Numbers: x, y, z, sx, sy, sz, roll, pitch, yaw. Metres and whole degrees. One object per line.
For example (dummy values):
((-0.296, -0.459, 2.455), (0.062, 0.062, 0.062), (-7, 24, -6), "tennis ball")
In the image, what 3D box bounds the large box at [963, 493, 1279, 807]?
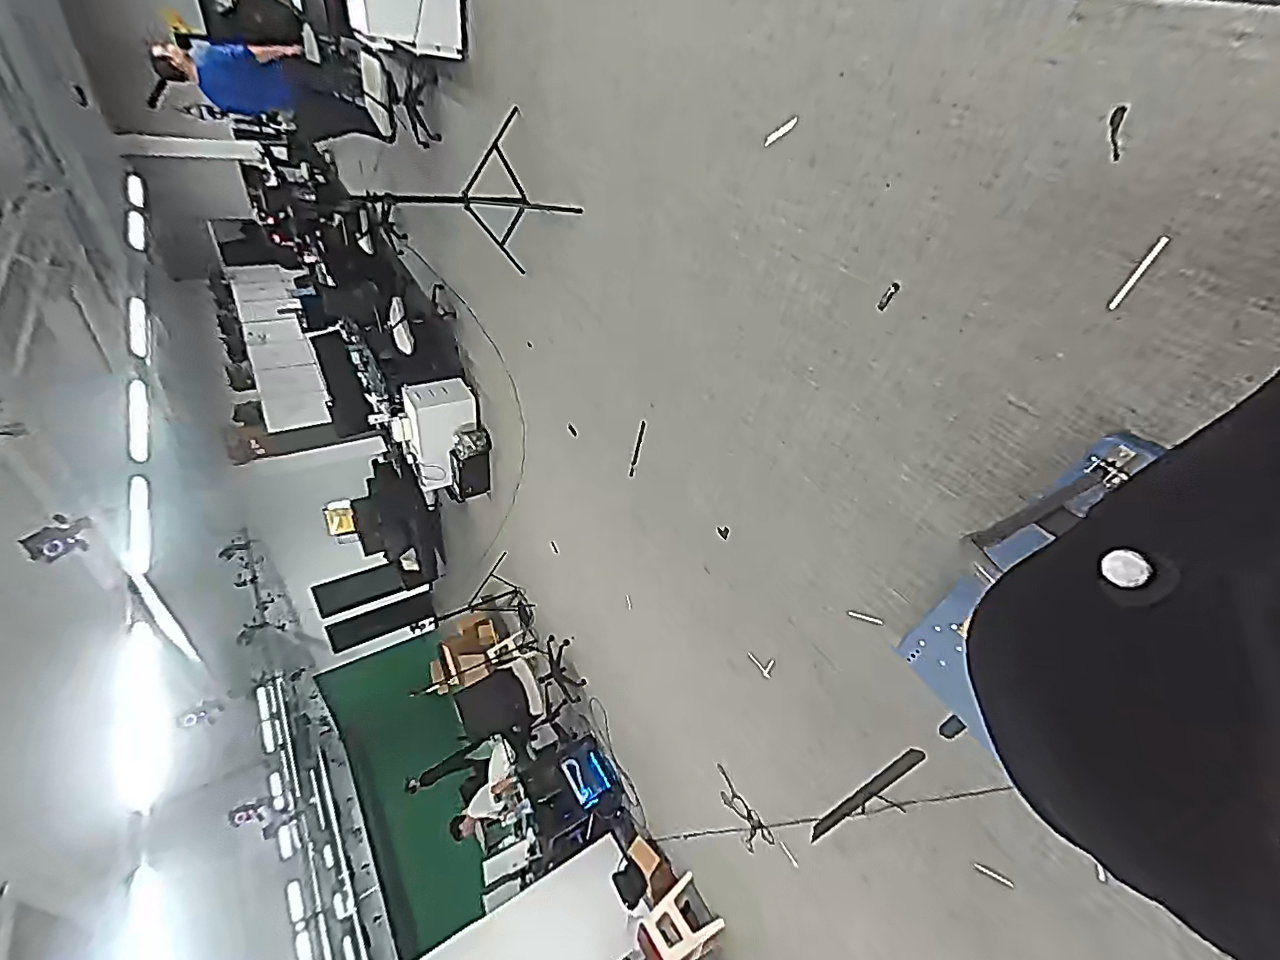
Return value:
((0.939, 0.292, 1.010), (0.408, 0.320, 0.320), (51, 143, 34), "large box")
